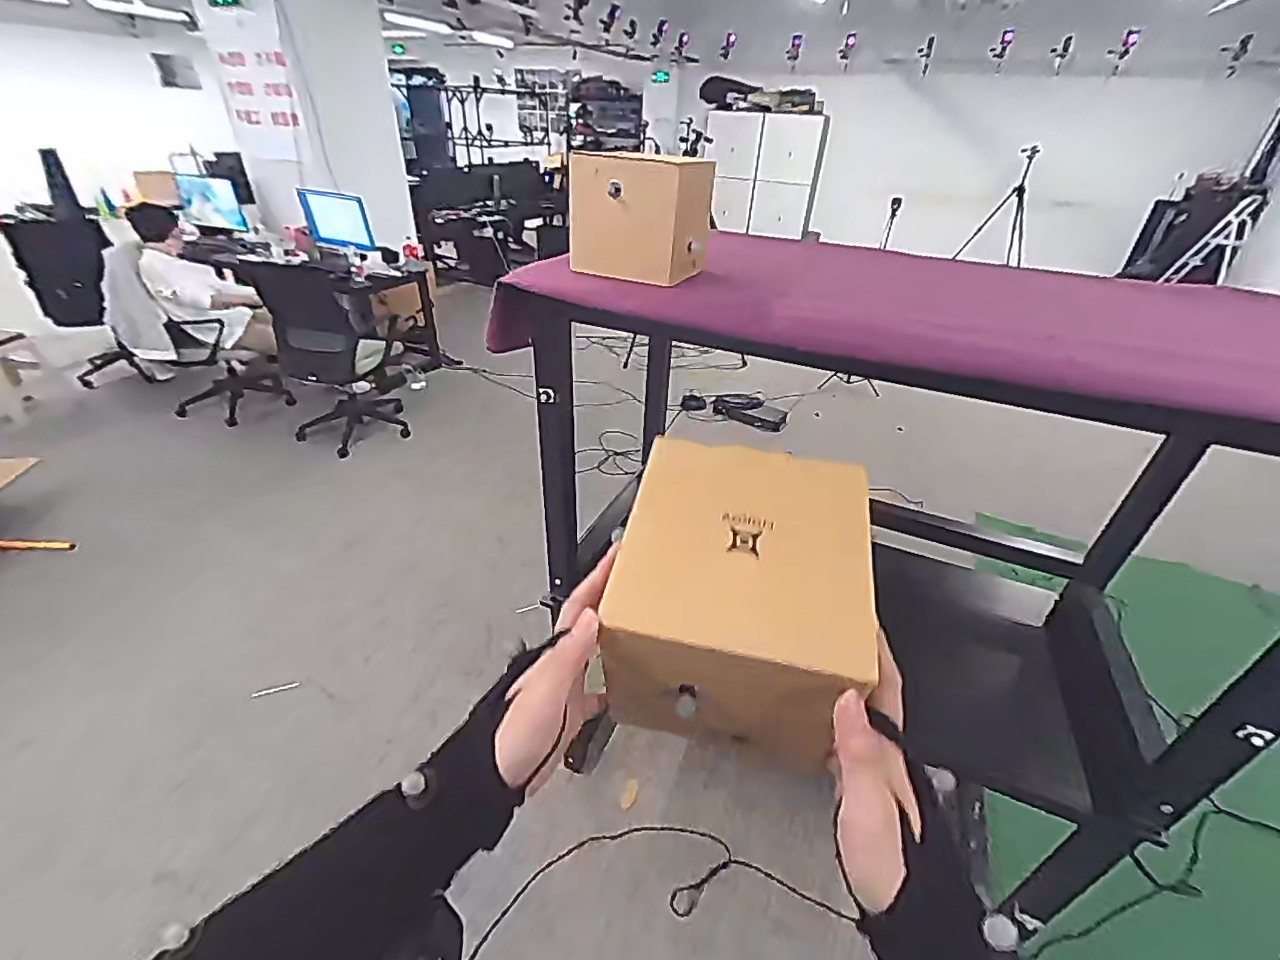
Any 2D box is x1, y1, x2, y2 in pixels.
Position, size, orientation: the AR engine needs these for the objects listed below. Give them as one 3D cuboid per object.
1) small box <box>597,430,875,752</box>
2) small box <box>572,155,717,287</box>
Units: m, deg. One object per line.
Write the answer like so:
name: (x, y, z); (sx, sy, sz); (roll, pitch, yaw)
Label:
small box: (0.075, 0.088, 0.426); (0.168, 0.176, 0.179); (9, 47, 10)
small box: (0.006, -0.414, 0.861); (0.179, 0.176, 0.168); (17, 35, 19)
